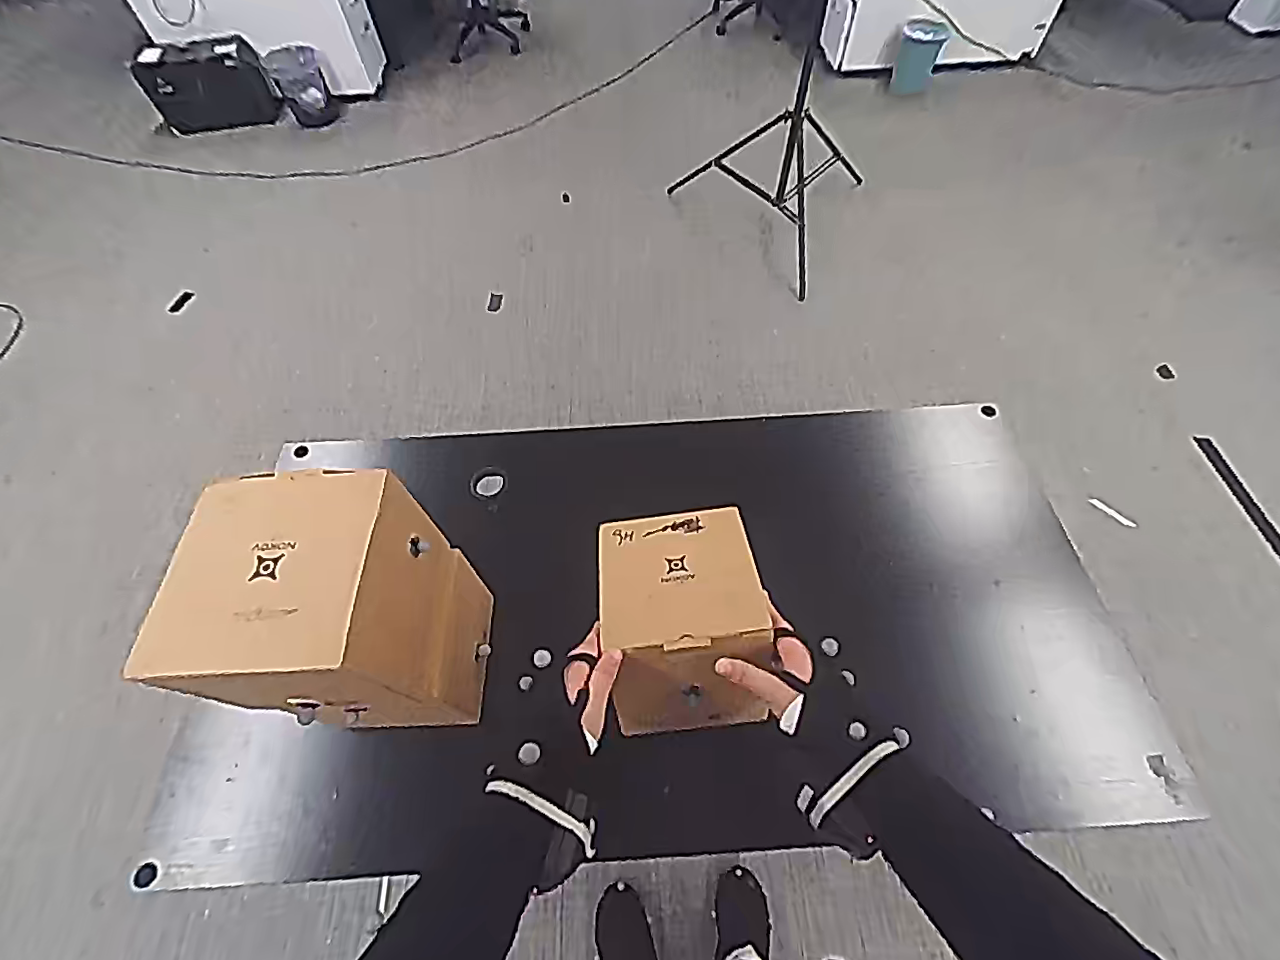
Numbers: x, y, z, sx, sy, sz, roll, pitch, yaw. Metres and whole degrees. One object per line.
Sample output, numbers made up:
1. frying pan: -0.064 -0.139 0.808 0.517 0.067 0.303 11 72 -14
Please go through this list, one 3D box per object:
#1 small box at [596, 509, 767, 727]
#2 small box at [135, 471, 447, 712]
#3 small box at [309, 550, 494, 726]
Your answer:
1. small box: 0.045 0.161 0.617 0.168 0.176 0.179 -7 38 1
2. small box: -0.297 0.111 0.514 0.168 0.176 0.179 -4 59 1
3. small box: -0.291 0.195 0.653 0.179 0.176 0.168 -2 58 -1
